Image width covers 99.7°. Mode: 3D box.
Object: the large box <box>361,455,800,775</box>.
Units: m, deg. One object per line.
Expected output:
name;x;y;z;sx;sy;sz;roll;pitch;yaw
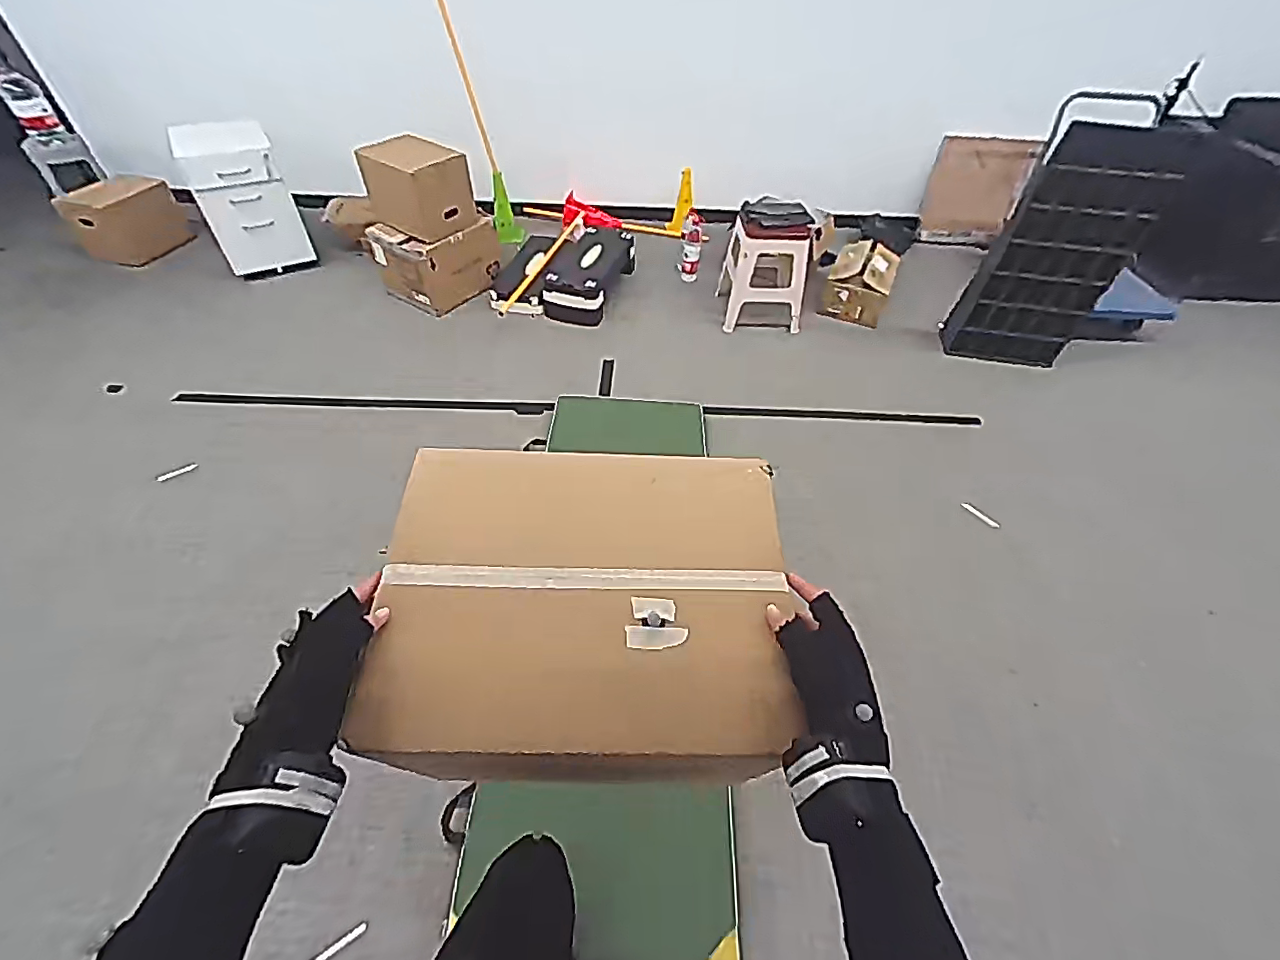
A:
large box;-0.061;0.184;0.689;0.408;0.320;0.320;2;57;-3
